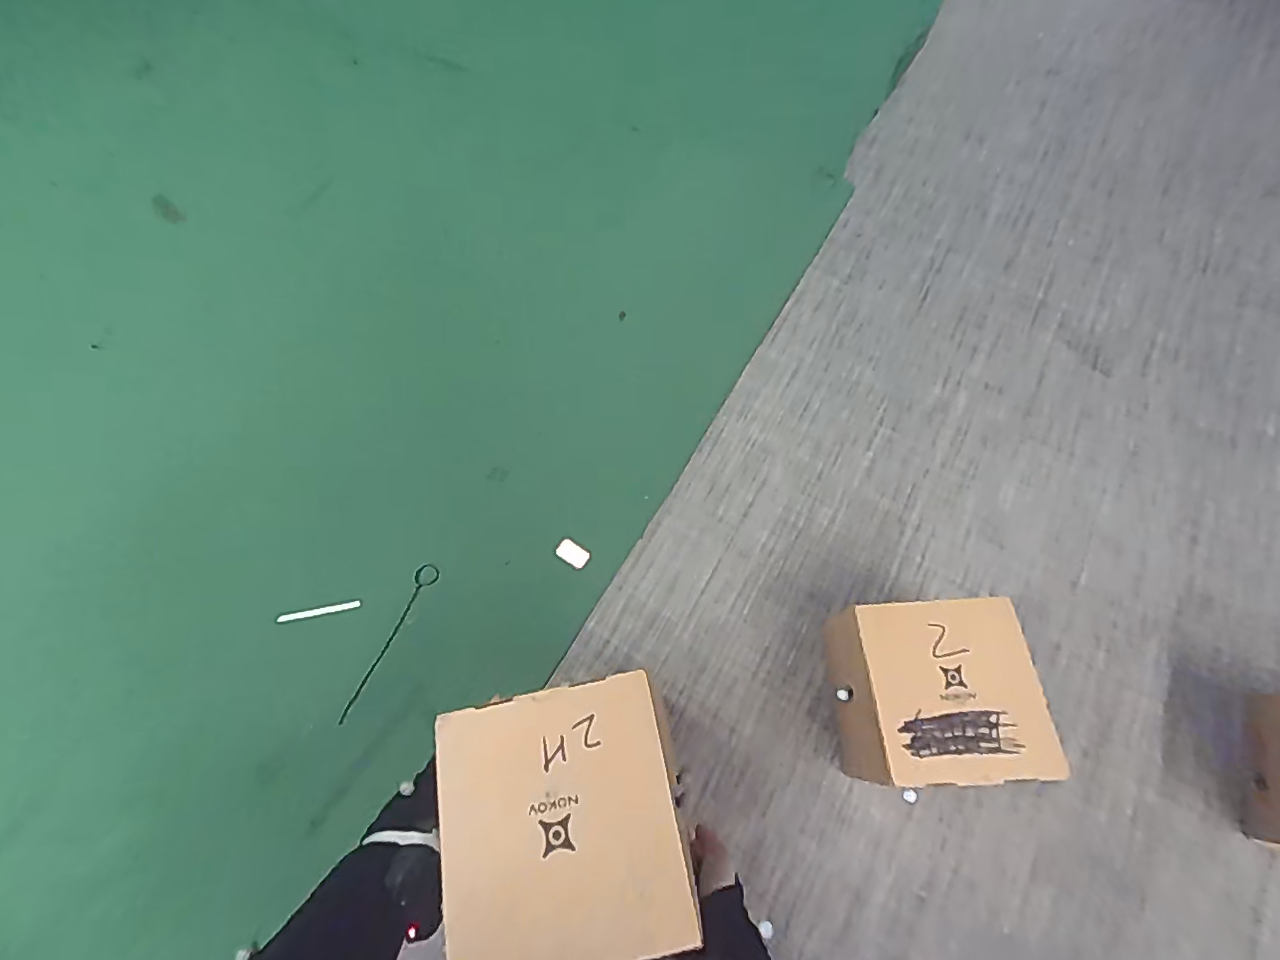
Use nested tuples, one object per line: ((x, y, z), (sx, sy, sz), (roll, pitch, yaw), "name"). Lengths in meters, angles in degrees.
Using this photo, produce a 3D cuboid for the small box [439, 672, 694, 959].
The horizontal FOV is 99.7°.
((-0.053, 0.273, 0.453), (0.168, 0.176, 0.179), (-12, 64, -2), "small box")
